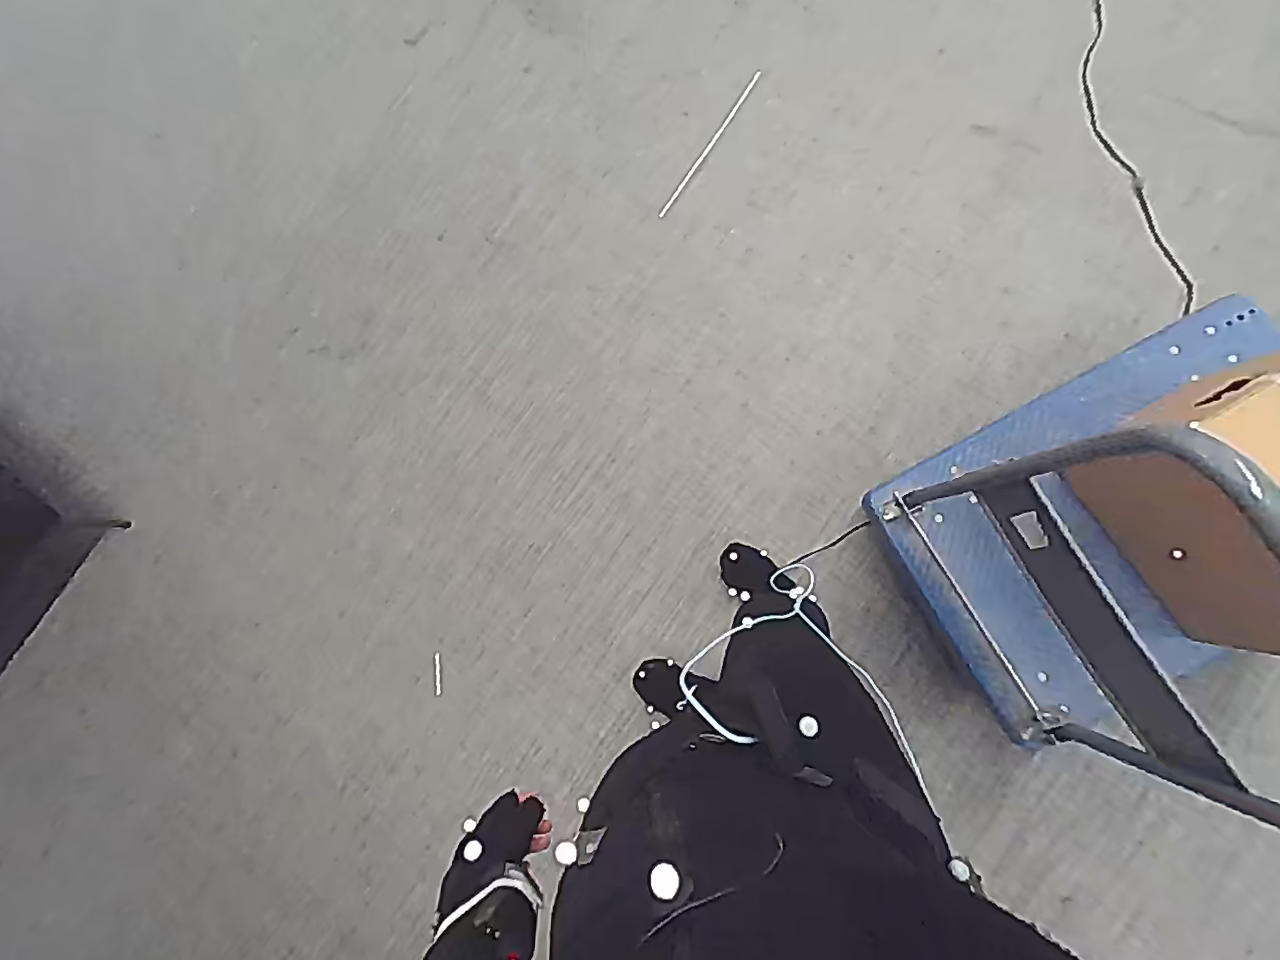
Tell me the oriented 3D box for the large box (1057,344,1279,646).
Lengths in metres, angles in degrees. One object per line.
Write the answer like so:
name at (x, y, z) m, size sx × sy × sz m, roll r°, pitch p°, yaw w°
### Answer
large box at (1.046, 0.026, 0.904) m, size 0.320 × 0.320 × 0.408 m, roll -33°, pitch 80°, yaw 1°
